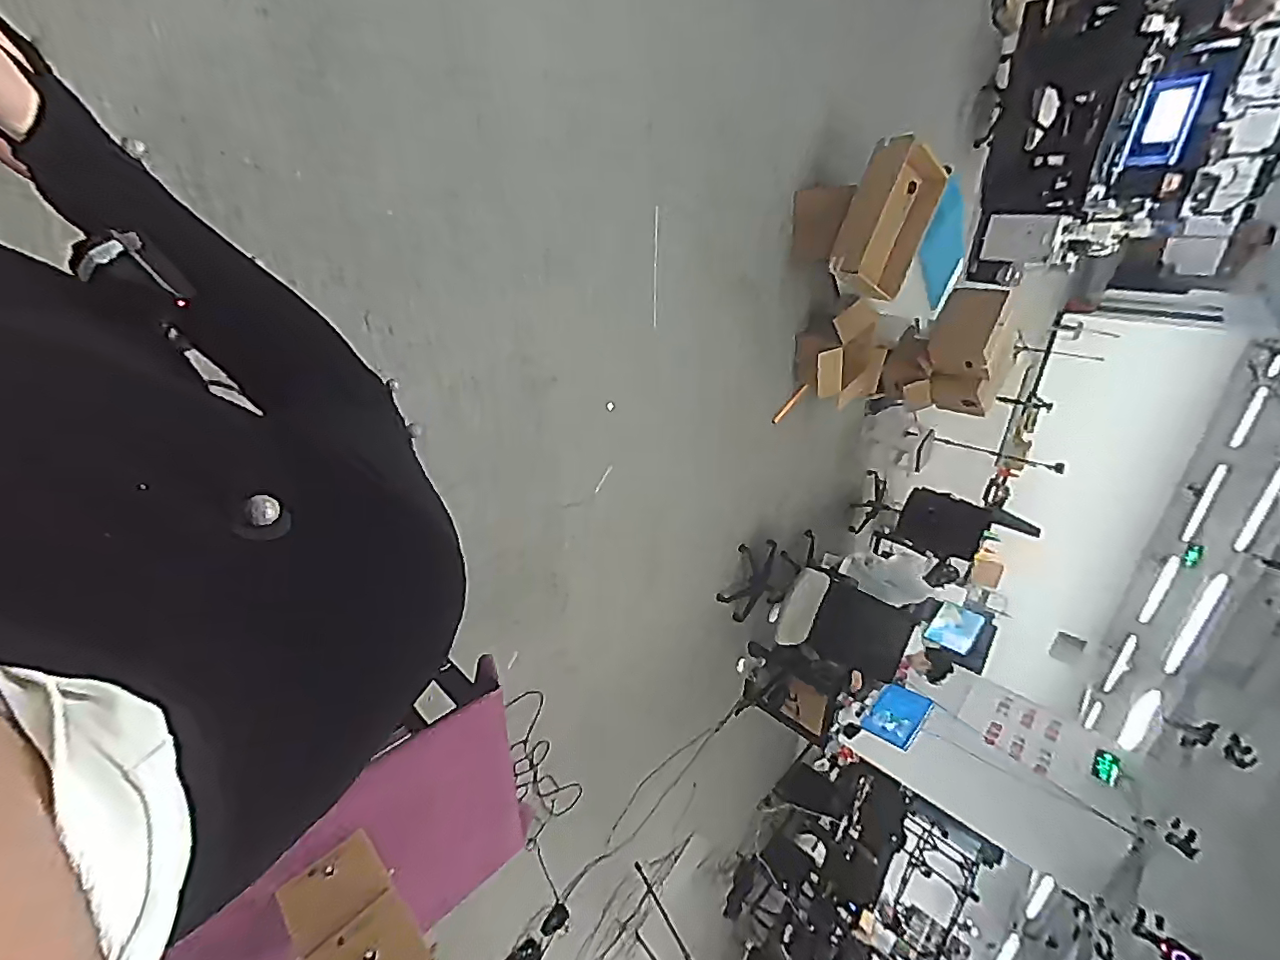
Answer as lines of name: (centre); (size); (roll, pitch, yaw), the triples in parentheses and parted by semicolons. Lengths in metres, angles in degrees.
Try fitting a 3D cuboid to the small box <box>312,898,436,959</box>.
small box: (-0.459, 0.896, 0.954); (0.168, 0.176, 0.179); (-26, 126, -39)
